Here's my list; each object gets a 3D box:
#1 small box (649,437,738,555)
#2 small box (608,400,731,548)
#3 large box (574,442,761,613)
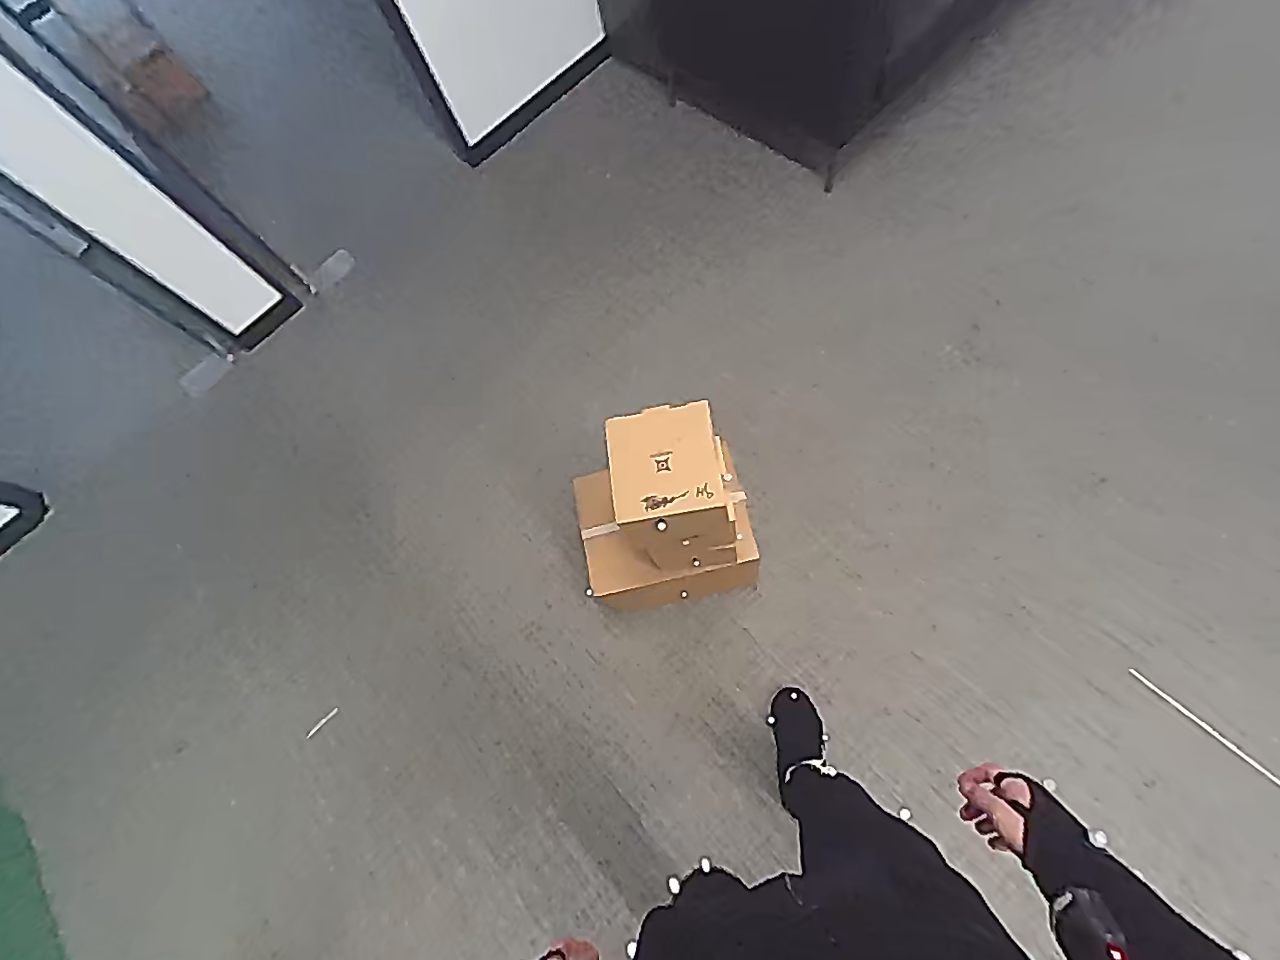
[{"bbox_3d":[0.087,0.038,1.031,0.179,0.176,0.168,-12,69,8],"label":"small box"},{"bbox_3d":[0.052,-0.002,0.875,0.168,0.176,0.179,-10,68,9],"label":"small box"},{"bbox_3d":[0.082,0.143,1.435,0.408,0.320,0.320,-15,66,6],"label":"large box"}]
